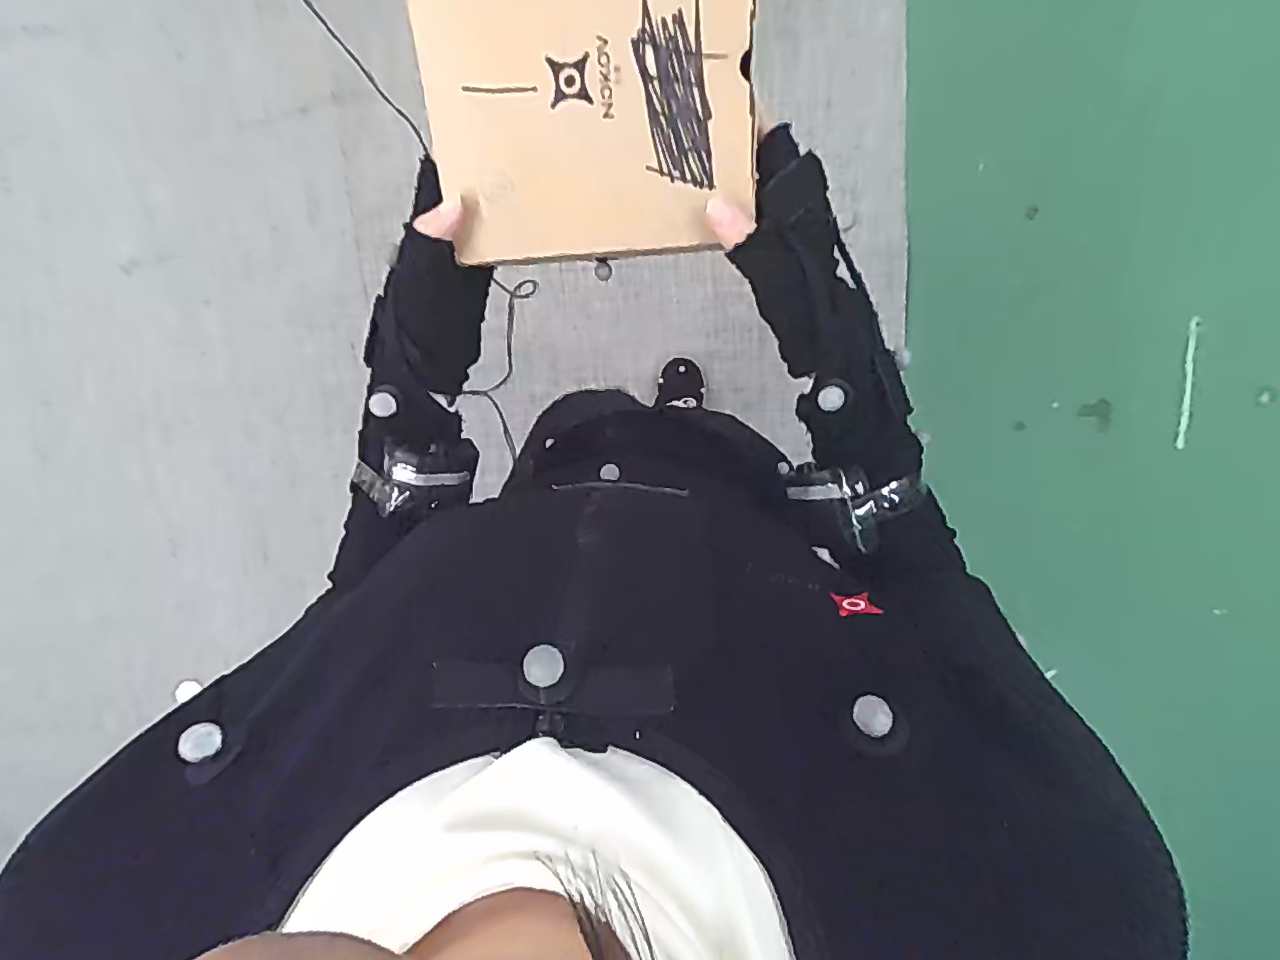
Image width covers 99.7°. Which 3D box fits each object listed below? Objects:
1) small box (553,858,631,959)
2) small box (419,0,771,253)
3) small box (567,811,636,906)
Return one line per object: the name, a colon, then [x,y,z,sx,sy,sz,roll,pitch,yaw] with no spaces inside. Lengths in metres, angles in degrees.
small box: [-0.121,1.130,1.416,0.179,0.176,0.168,-1,102,4]
small box: [-0.020,-0.249,0.355,0.179,0.176,0.168,-7,112,4]
small box: [-0.108,1.100,1.577,0.179,0.176,0.168,-4,101,2]
